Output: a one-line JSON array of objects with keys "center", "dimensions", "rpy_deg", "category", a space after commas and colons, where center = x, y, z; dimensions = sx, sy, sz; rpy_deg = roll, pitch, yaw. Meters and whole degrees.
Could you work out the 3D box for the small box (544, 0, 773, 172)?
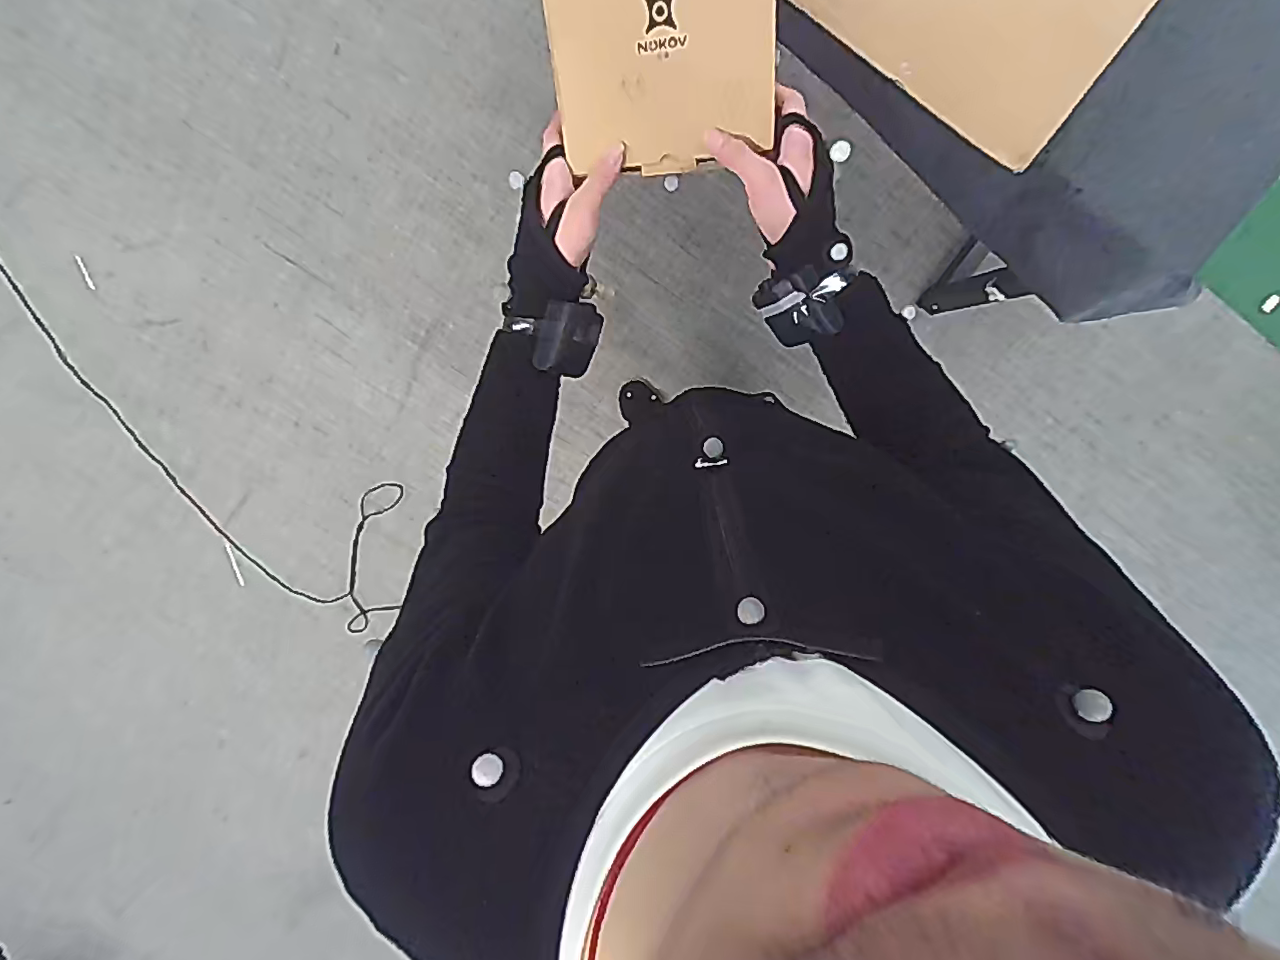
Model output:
[{"center": [0.021, -0.374, 0.462], "dimensions": [0.168, 0.176, 0.179], "rpy_deg": [-5, 117, 8], "category": "small box"}]
